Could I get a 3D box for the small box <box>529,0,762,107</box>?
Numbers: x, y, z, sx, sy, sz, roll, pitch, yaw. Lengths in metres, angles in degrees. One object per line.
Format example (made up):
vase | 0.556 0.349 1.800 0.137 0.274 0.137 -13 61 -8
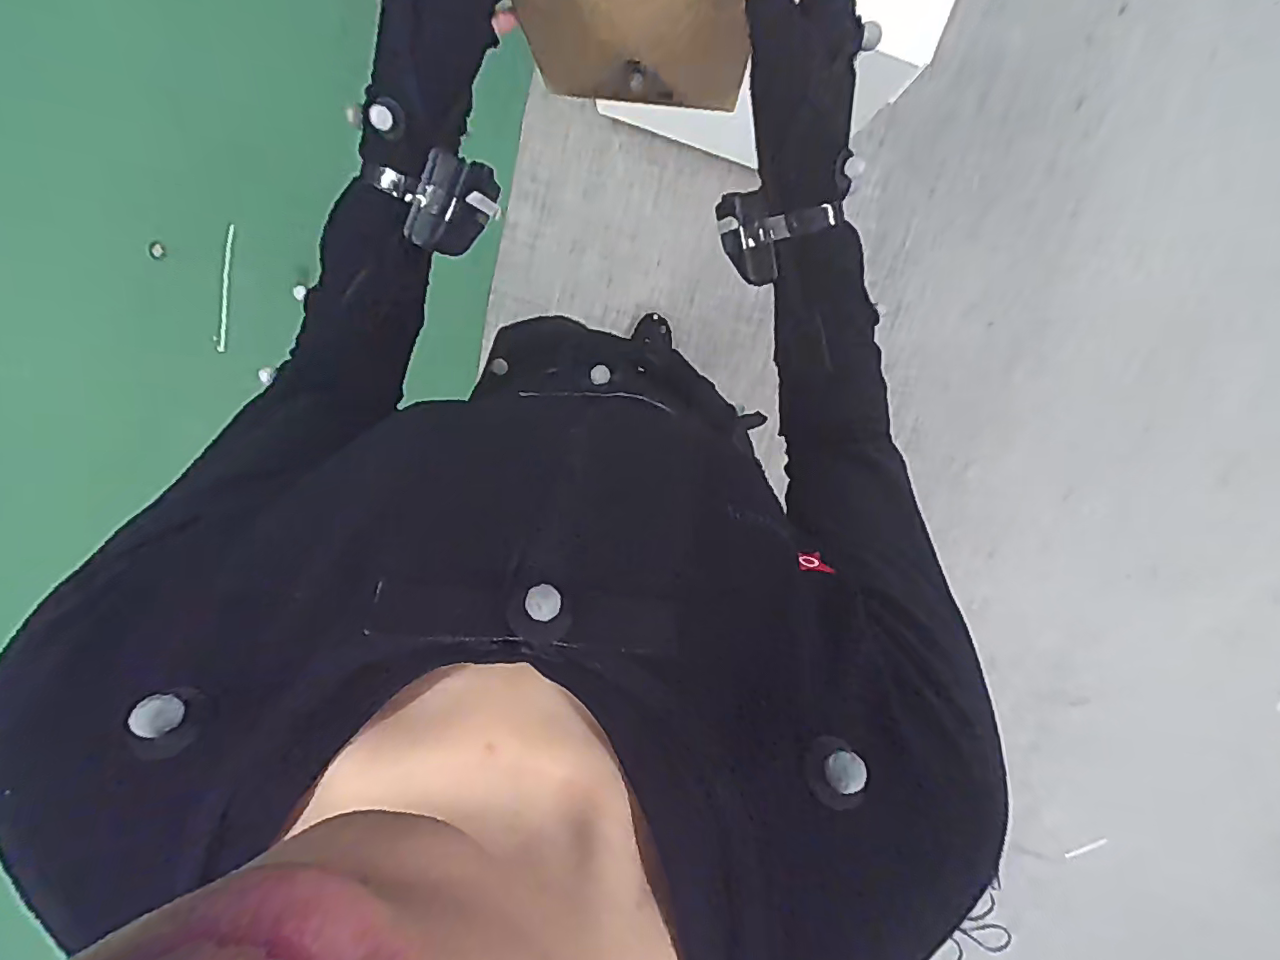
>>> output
small box | 0.008 -0.402 0.375 0.168 0.176 0.179 7 101 2
